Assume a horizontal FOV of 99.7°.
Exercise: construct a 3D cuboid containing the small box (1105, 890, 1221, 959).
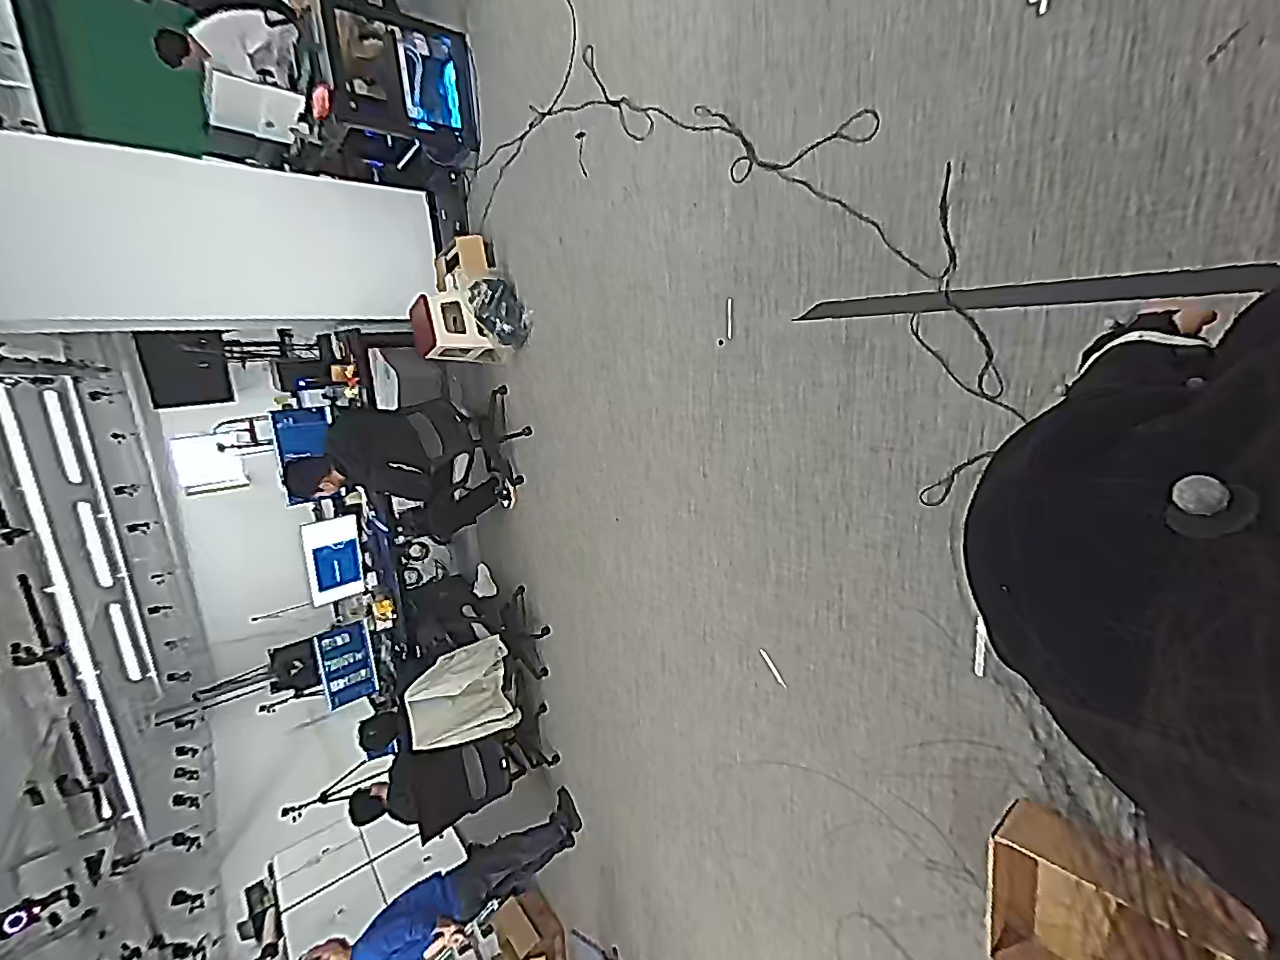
[{"bbox_3d":[1.153,1.072,1.190,0.168,0.176,0.179,0,101,51],"label":"small box"}]
